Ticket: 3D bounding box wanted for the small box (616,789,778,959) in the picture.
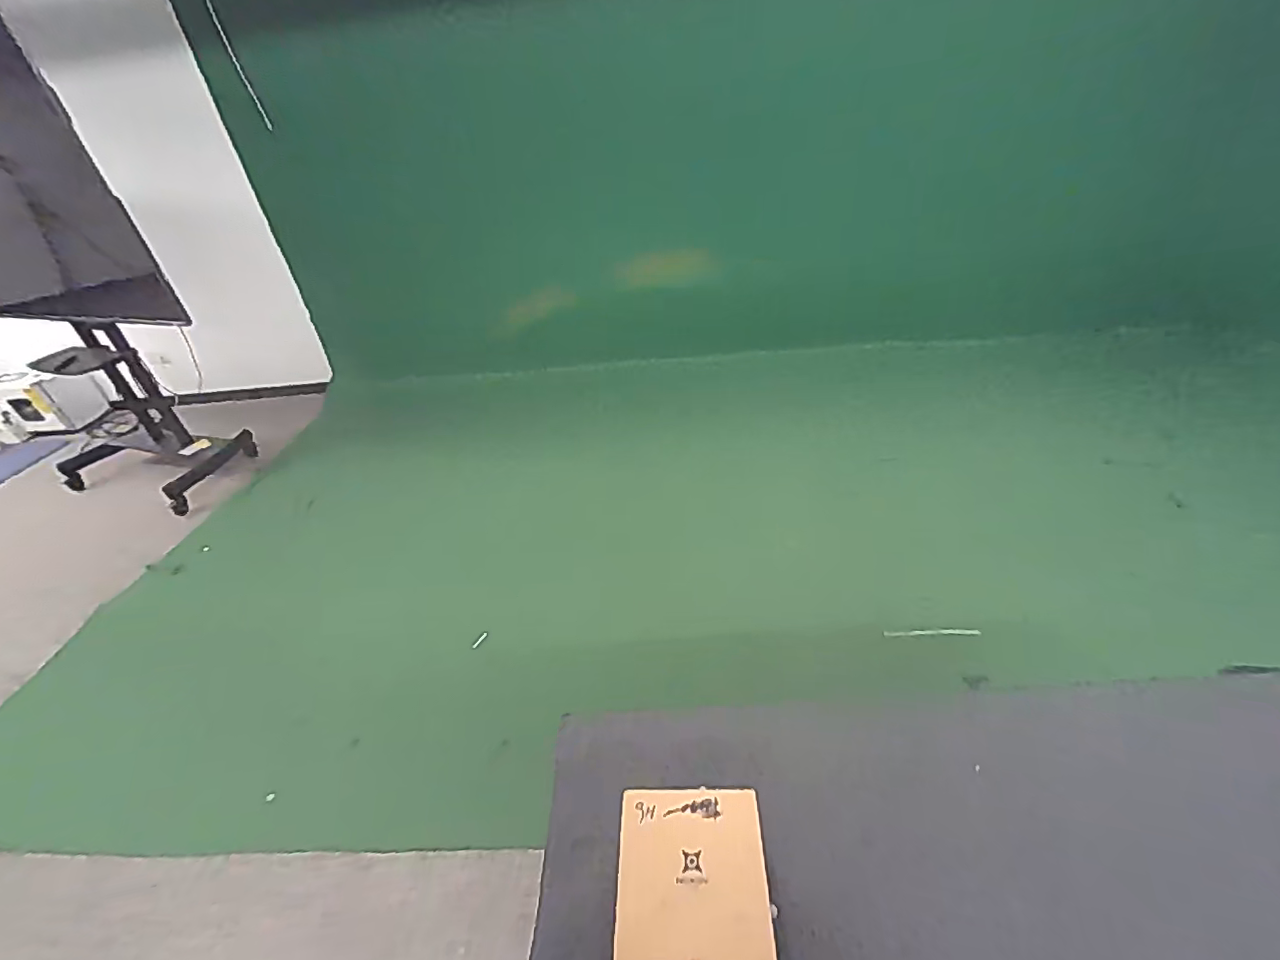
[{"bbox_3d":[0.068,0.499,0.647,0.168,0.176,0.179,-2,35,5],"label":"small box"}]
